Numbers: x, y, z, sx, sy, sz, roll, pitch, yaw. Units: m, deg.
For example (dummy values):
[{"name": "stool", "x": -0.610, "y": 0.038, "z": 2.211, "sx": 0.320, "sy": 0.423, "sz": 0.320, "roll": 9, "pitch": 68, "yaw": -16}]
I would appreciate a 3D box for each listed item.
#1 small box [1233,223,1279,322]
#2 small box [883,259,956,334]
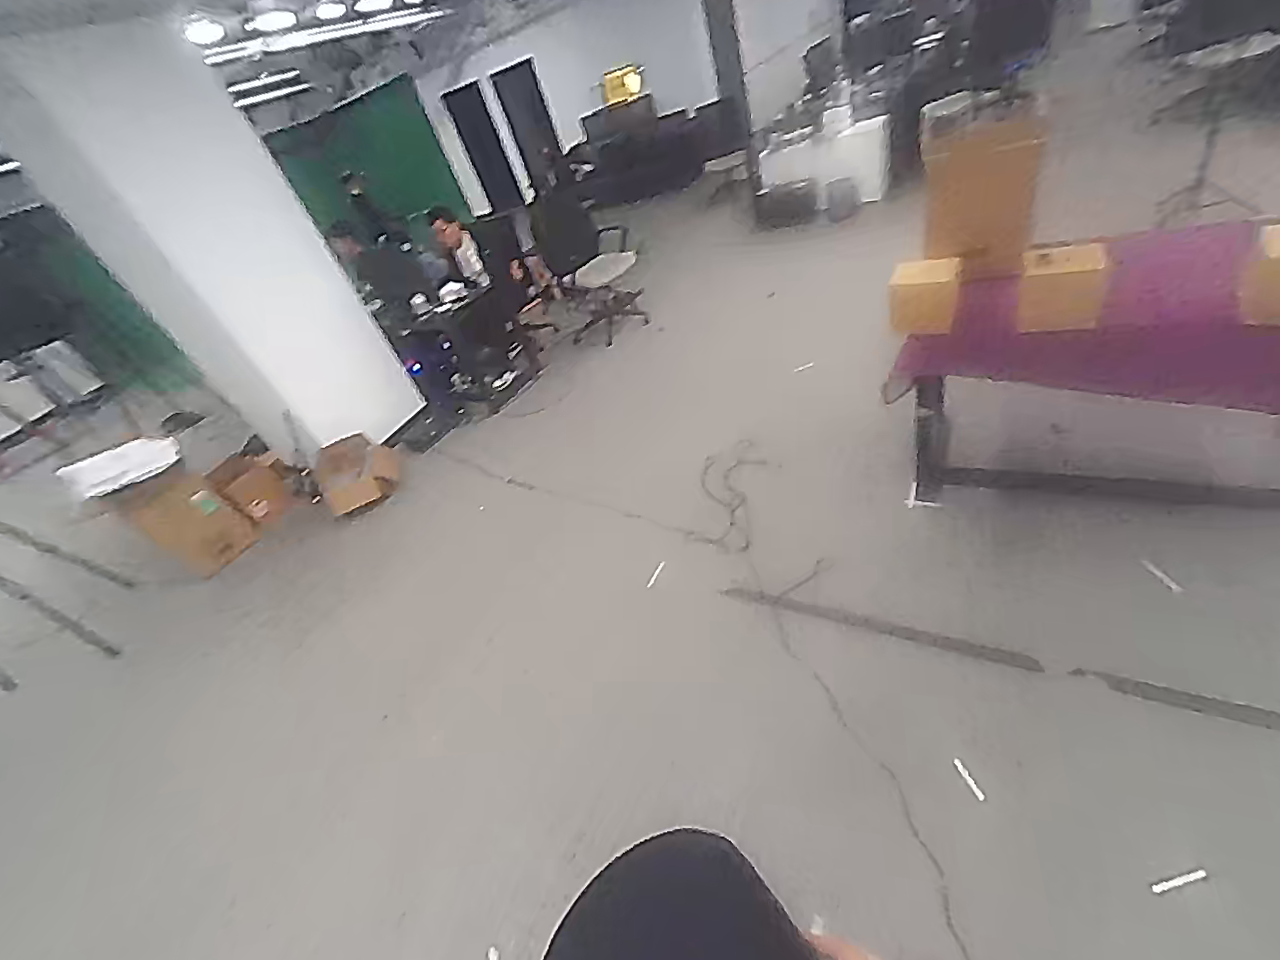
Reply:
[{"name": "small box", "x": 1.518, "y": -0.481, "z": 1.250, "sx": 0.168, "sy": 0.176, "sz": 0.179, "roll": 12, "pitch": 49, "yaw": 37}, {"name": "small box", "x": 0.870, "y": -0.567, "z": 1.684, "sx": 0.179, "sy": 0.176, "sz": 0.168, "roll": 9, "pitch": 46, "yaw": 33}]
